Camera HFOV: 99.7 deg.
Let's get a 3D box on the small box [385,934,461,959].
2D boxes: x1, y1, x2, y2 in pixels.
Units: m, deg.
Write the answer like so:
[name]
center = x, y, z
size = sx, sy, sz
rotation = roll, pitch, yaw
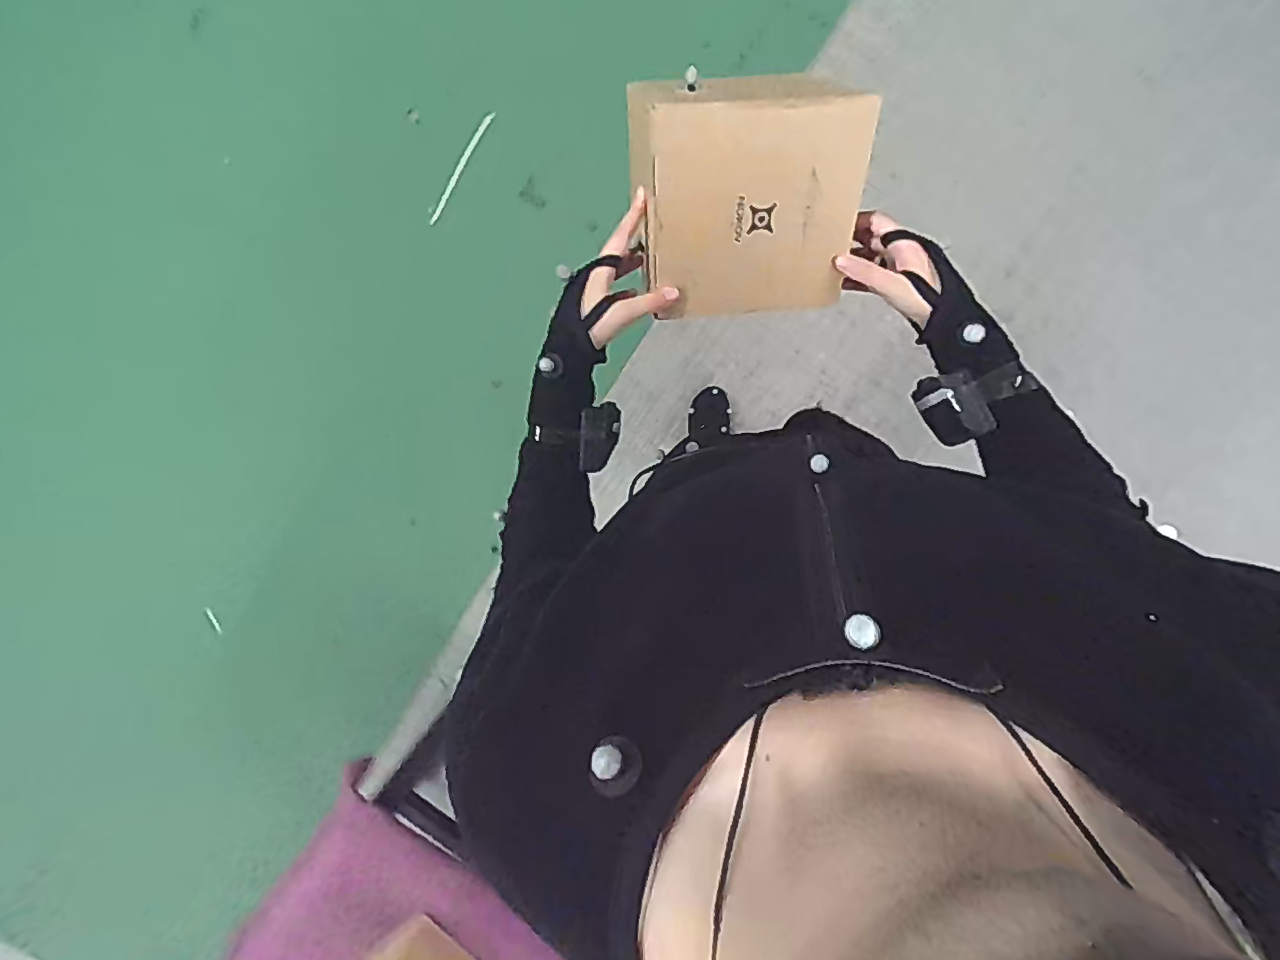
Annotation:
[small box]
center = -0.377, 0.893, 0.874
size = 0.179, 0.176, 0.168
rotation = 44, 102, -3
